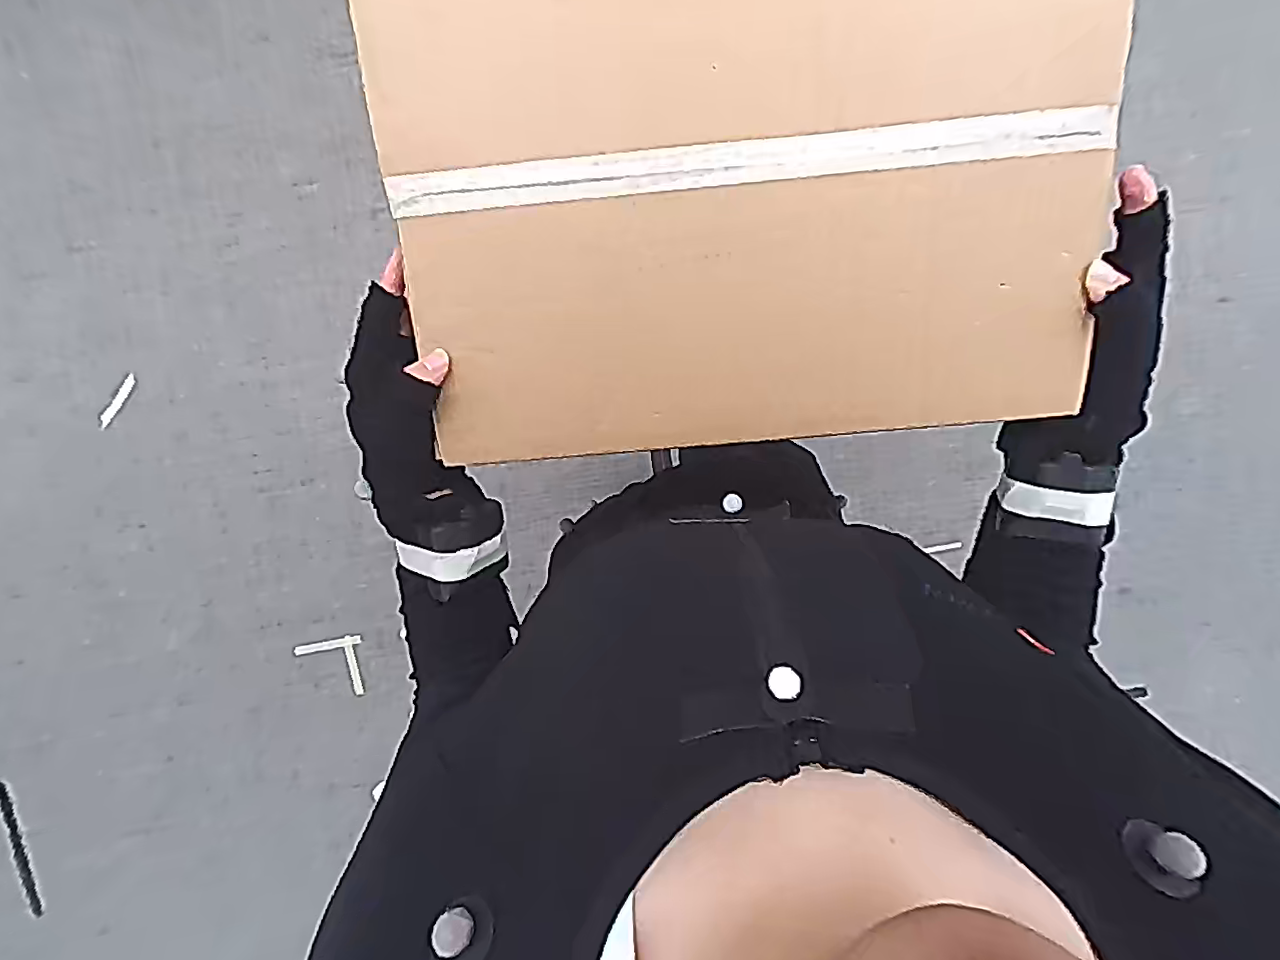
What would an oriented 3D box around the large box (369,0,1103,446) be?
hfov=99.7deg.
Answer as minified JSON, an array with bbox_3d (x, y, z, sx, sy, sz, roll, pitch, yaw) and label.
[{"bbox_3d":[0.056,-0.226,0.459,0.408,0.320,0.320,-5,106,1],"label":"large box"}]
